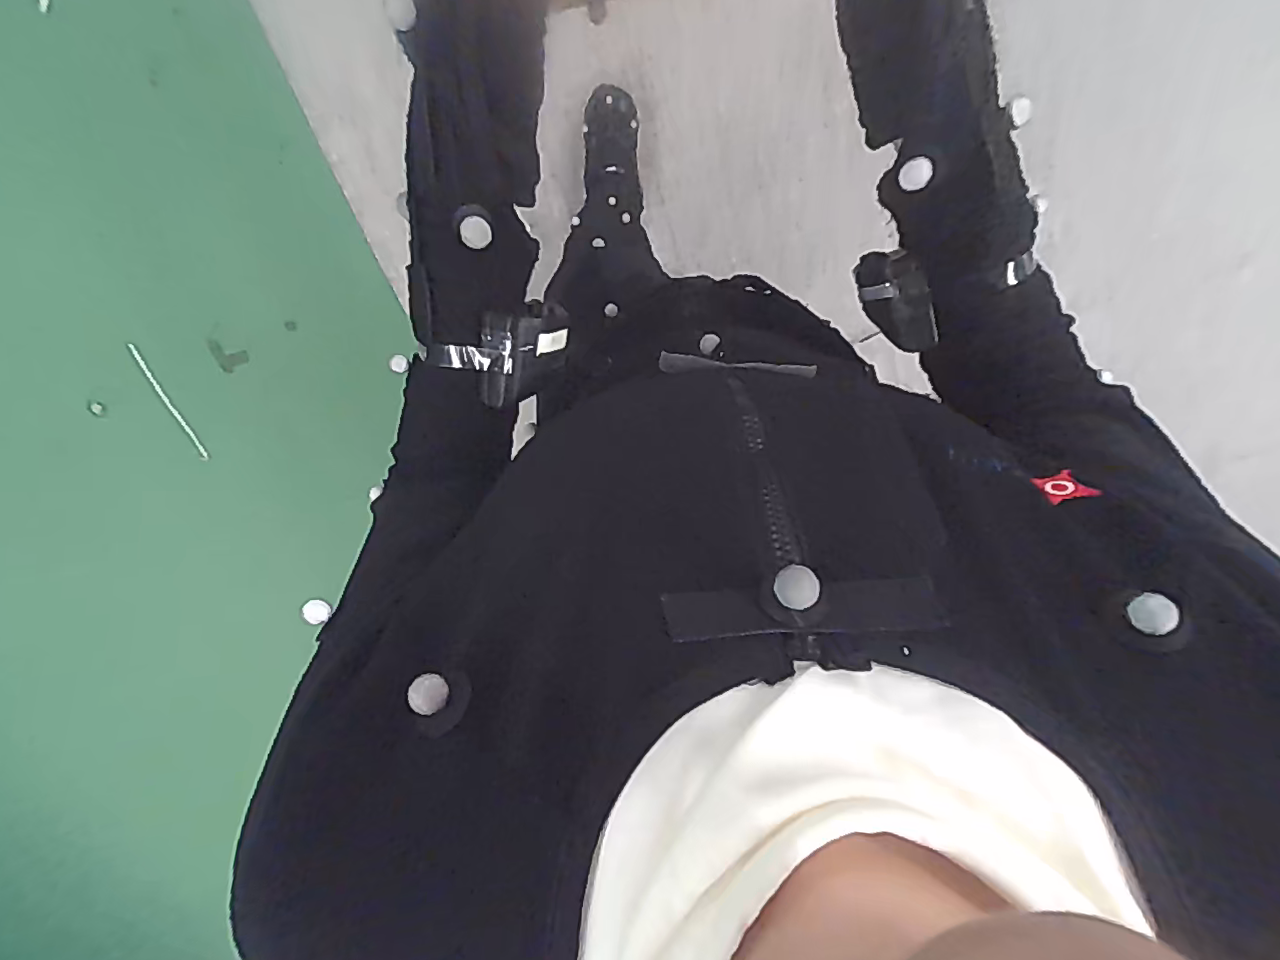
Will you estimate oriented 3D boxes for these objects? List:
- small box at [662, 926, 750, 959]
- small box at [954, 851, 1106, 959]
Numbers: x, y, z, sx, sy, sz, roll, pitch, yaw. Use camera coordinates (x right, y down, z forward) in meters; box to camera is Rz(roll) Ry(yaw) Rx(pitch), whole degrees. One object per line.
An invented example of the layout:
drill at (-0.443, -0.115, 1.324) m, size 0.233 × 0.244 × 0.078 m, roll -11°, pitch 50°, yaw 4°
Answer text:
small box at (0.151, 1.054, 1.091) m, size 0.168 × 0.176 × 0.179 m, roll -19°, pitch 113°, yaw 4°
small box at (0.725, 0.840, 1.011) m, size 0.168 × 0.176 × 0.179 m, roll -26°, pitch 115°, yaw 8°
